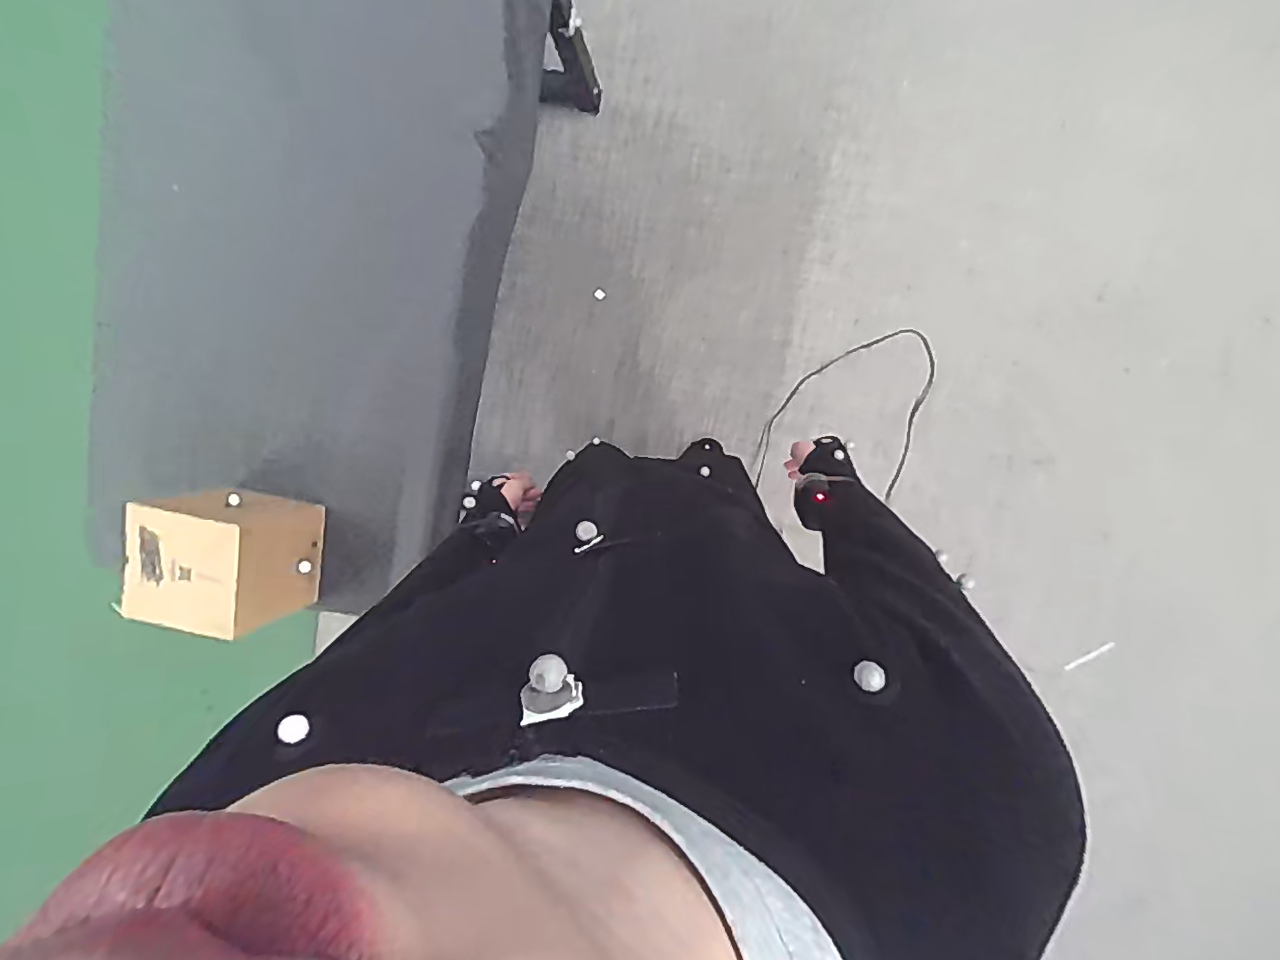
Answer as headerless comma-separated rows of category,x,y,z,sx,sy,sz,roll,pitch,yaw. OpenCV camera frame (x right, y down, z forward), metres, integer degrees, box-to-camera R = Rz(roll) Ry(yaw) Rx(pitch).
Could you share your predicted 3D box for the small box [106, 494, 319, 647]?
small box,-0.618,0.120,0.796,0.179,0.176,0.168,10,97,5
